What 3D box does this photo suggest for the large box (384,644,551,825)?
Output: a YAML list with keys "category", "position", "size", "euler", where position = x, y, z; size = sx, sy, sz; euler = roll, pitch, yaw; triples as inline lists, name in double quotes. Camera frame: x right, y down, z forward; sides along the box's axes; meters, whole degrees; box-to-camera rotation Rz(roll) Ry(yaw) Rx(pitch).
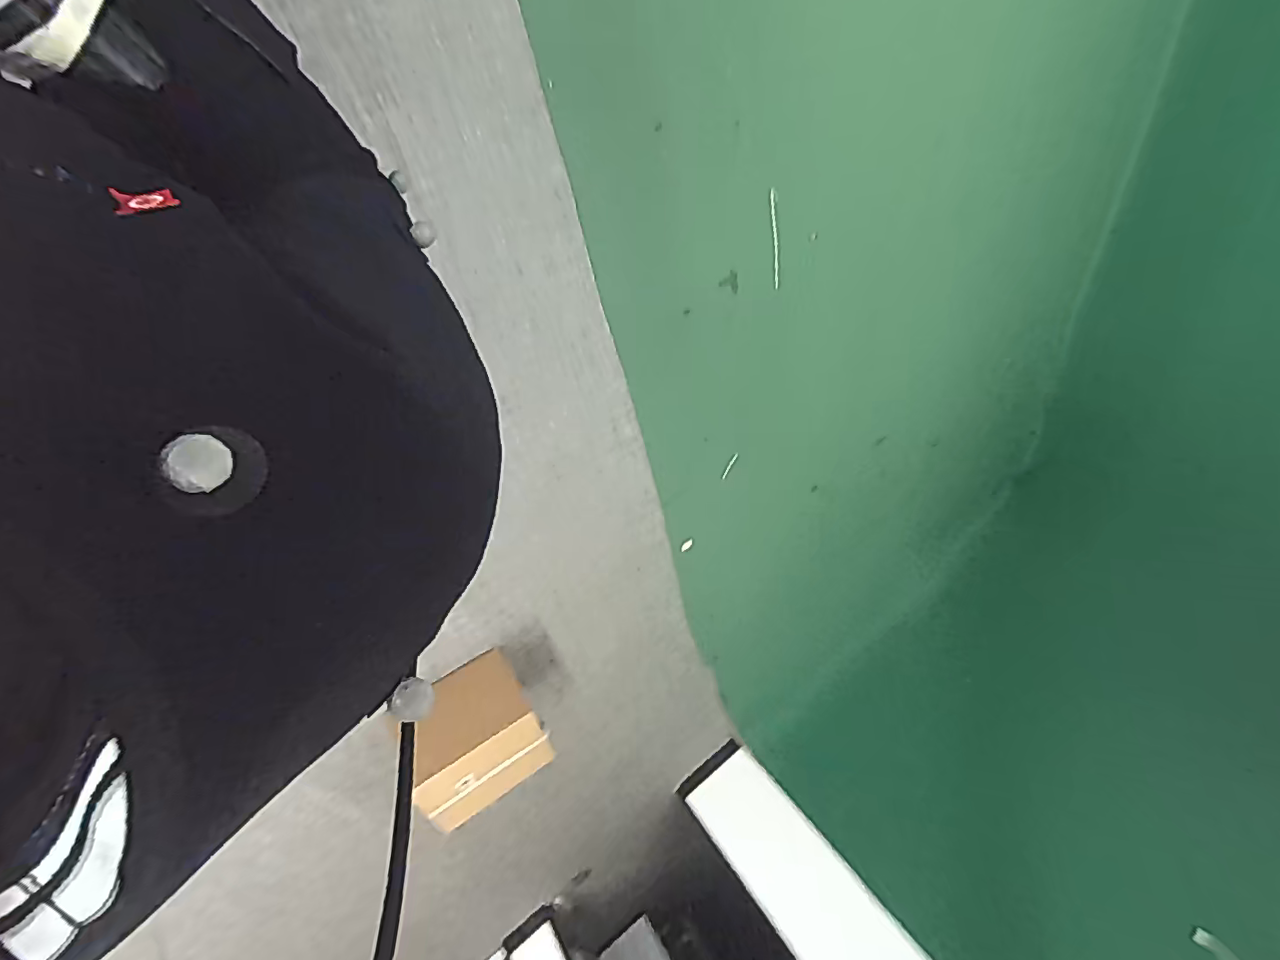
- category: "large box"
  position: [-0.569, 0.835, 1.809]
  size: [0.408, 0.320, 0.320]
  euler: [-28, 131, -21]
